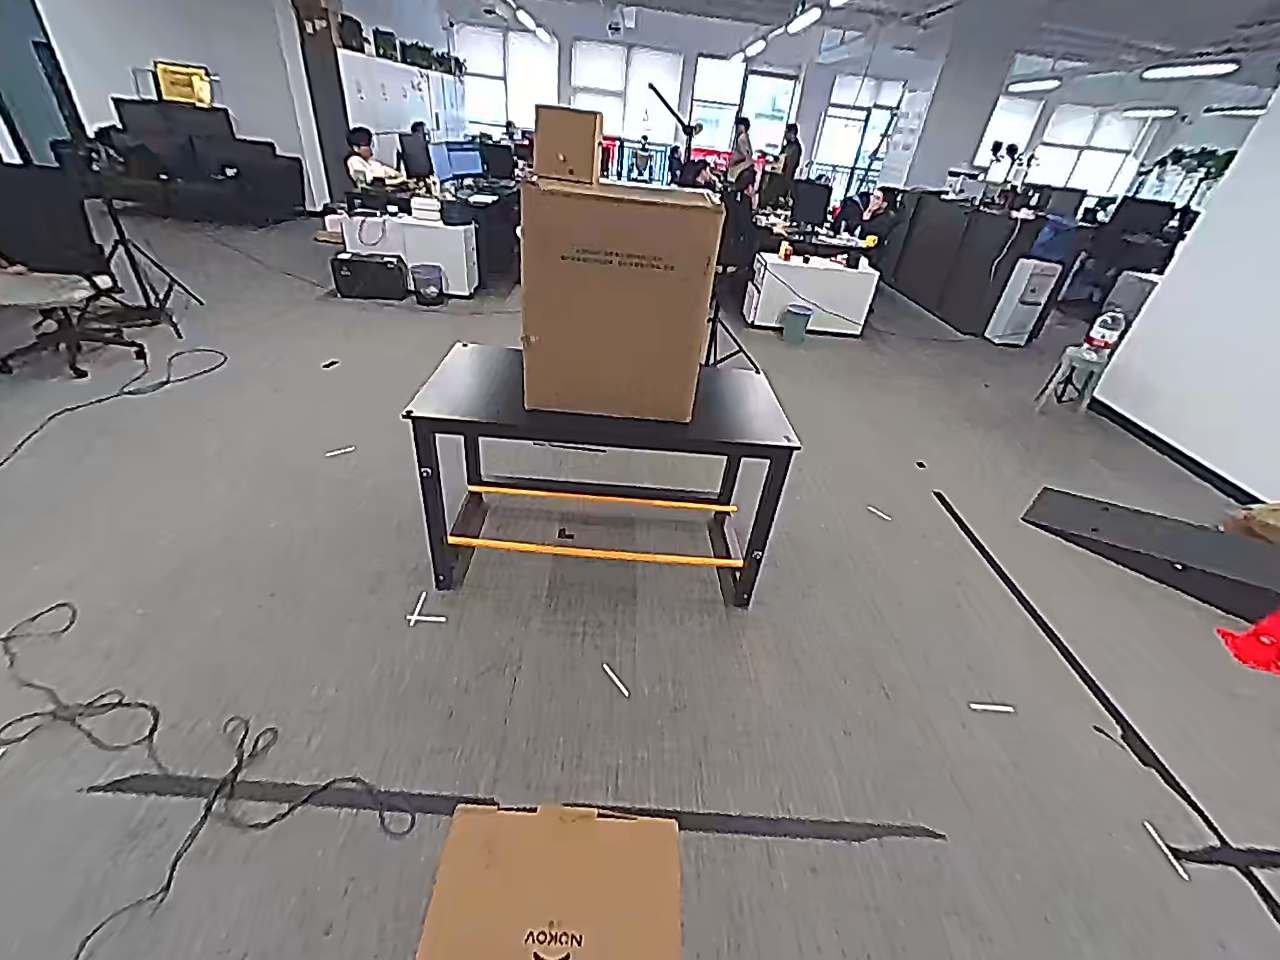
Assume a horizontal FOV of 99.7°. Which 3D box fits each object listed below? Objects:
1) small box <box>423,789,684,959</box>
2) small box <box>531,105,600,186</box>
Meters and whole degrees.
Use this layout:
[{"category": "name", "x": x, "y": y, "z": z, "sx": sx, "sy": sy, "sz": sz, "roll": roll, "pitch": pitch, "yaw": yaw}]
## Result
[{"category": "small box", "x": -0.061, "y": 0.356, "z": 0.395, "sx": 0.168, "sy": 0.176, "sz": 0.179, "roll": 5, "pitch": 41, "yaw": -2}, {"category": "small box", "x": -0.206, "y": -0.928, "z": 1.503, "sx": 0.168, "sy": 0.176, "sz": 0.179, "roll": 6, "pitch": 33, "yaw": -1}]
